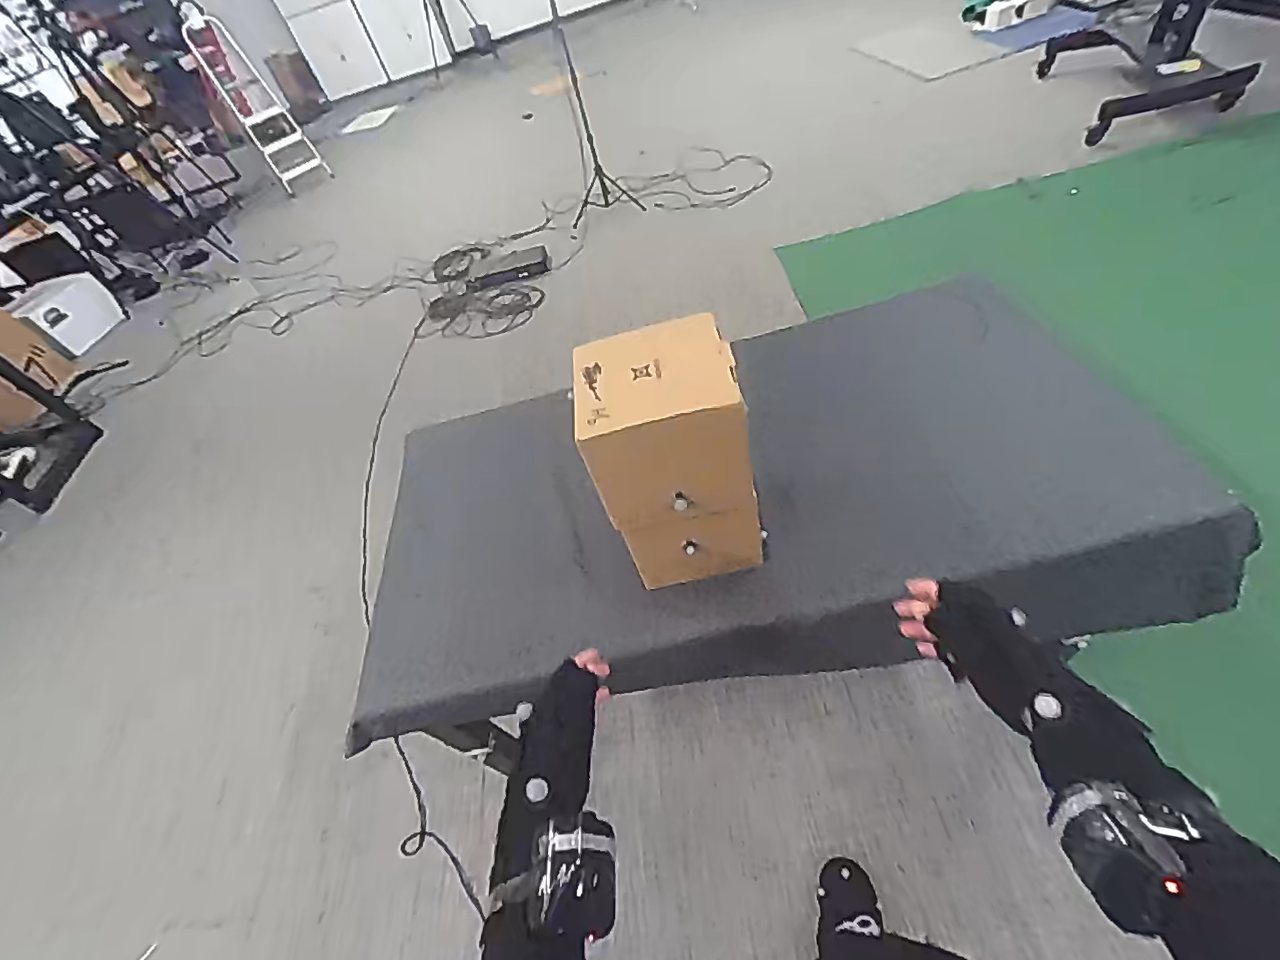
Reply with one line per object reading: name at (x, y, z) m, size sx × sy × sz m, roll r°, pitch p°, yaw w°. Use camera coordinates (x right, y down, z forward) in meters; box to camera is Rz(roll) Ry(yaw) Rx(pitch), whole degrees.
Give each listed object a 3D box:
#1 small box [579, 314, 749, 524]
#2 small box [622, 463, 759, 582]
small box at (0.032, -0.069, 0.657) m, size 0.179 × 0.176 × 0.168 m, roll -12°, pitch 48°, yaw 6°
small box at (0.070, 0.027, 0.784) m, size 0.179 × 0.176 × 0.168 m, roll -13°, pitch 48°, yaw 6°
